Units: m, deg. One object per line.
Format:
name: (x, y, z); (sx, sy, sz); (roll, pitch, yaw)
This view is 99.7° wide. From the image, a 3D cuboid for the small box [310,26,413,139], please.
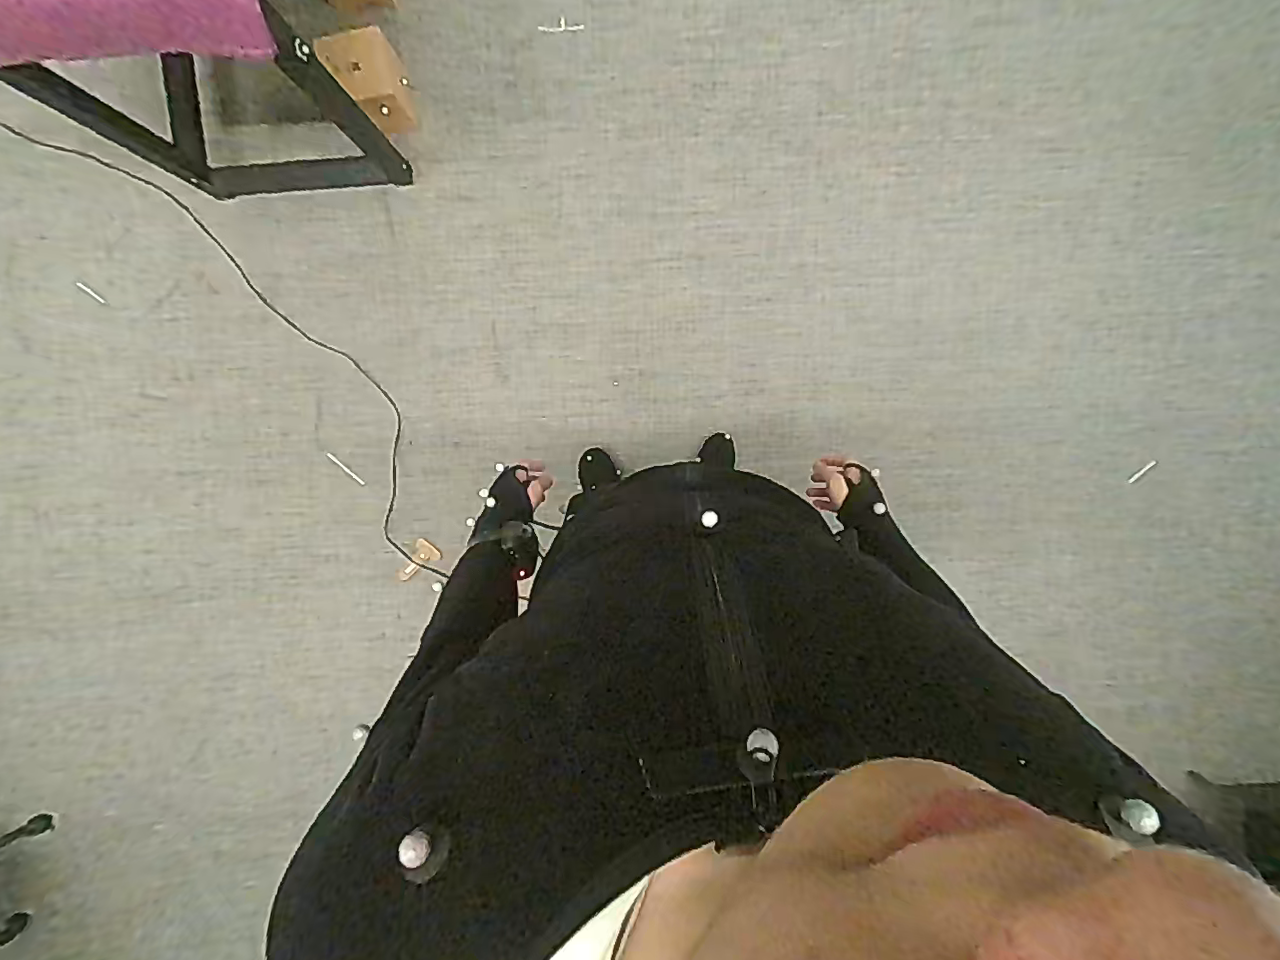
small box: (-0.724, -1.044, 1.433); (0.179, 0.176, 0.168); (-11, 95, 1)
